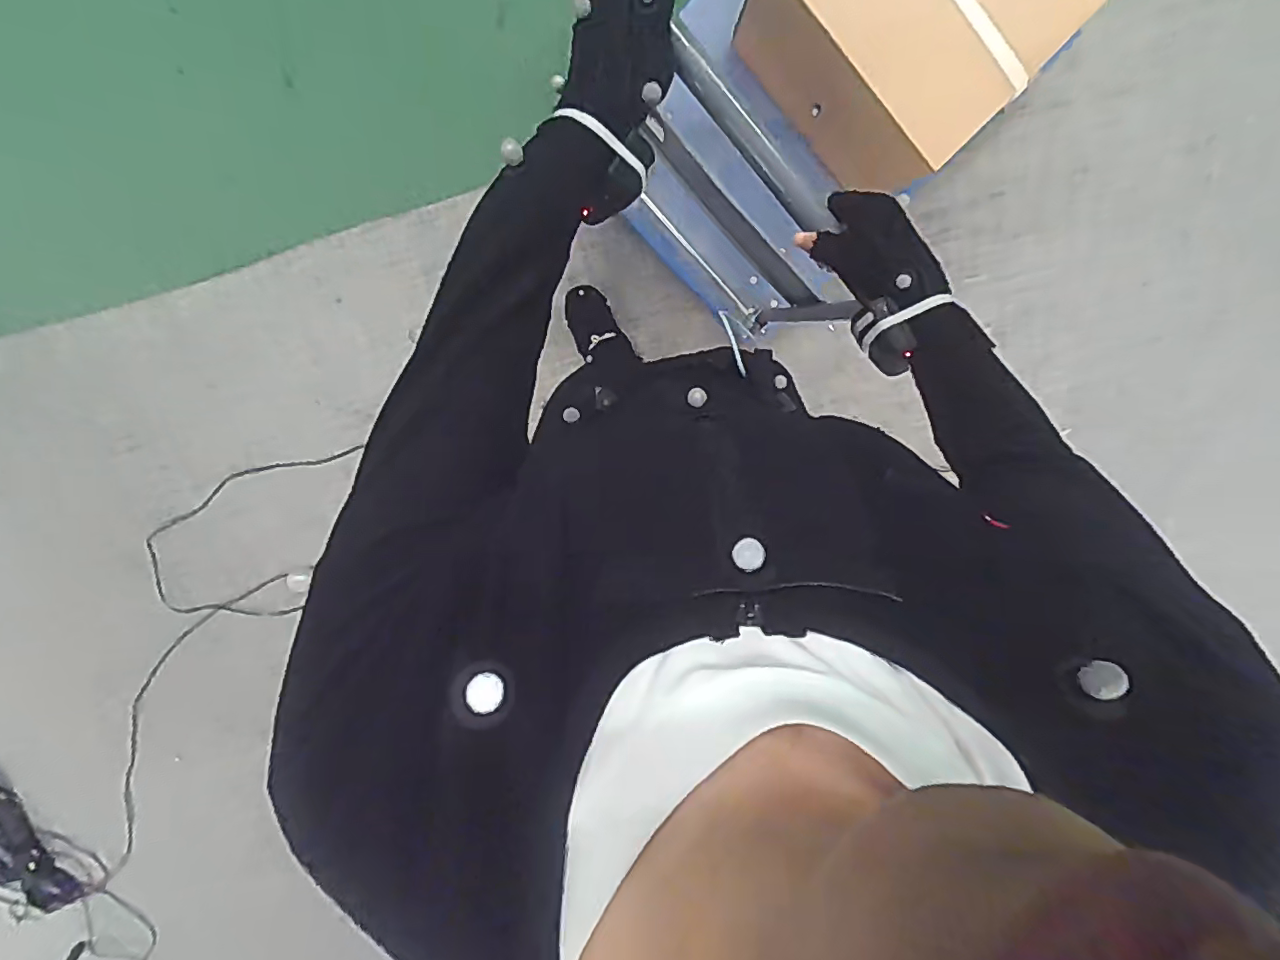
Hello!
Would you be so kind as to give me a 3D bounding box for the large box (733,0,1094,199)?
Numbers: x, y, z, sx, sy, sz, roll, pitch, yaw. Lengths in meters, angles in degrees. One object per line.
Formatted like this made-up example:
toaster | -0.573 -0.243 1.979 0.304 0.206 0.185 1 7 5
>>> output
large box | 0.422 -0.770 0.922 0.408 0.320 0.320 42 102 -12
